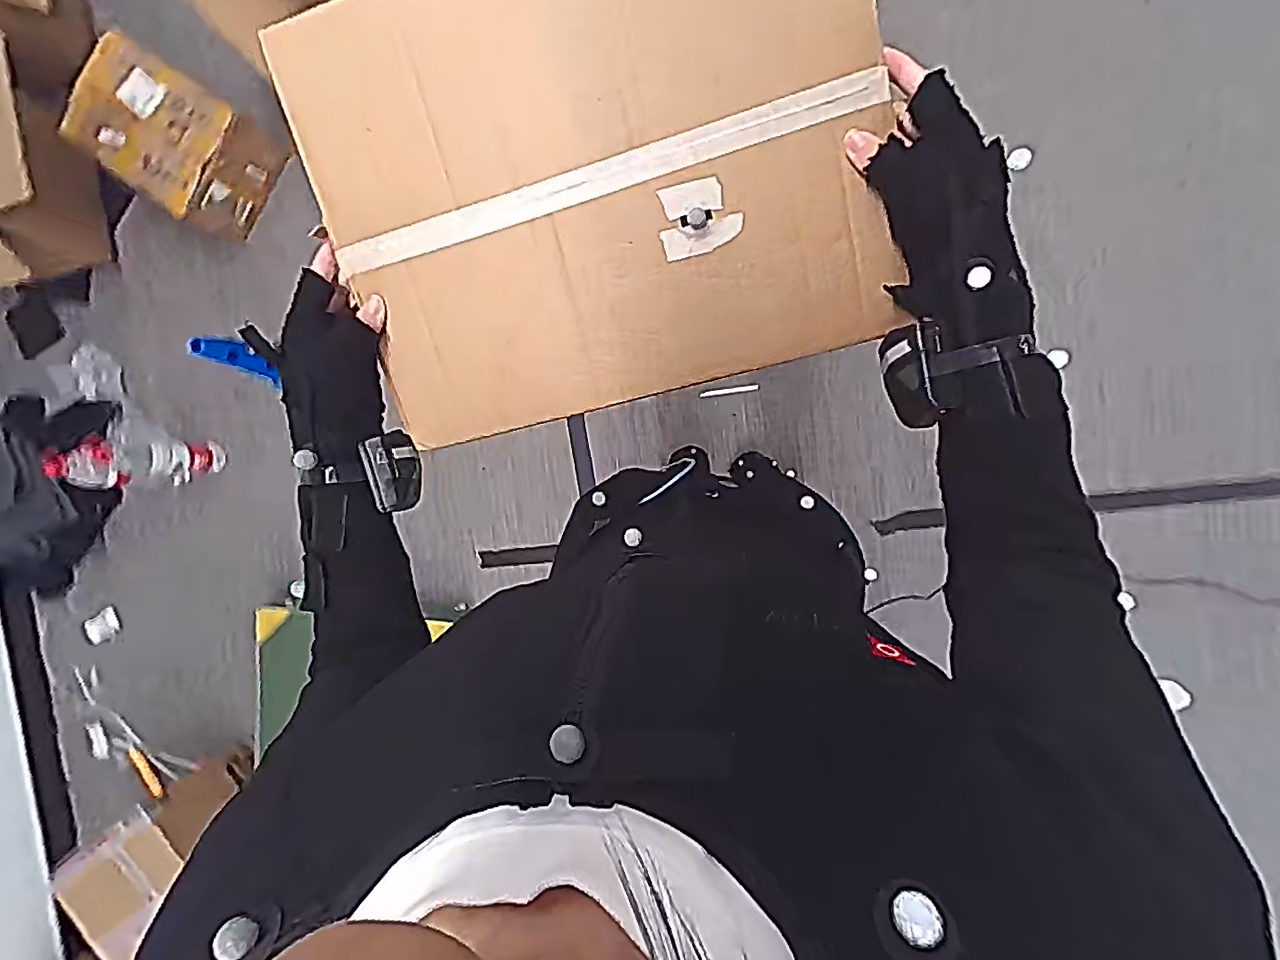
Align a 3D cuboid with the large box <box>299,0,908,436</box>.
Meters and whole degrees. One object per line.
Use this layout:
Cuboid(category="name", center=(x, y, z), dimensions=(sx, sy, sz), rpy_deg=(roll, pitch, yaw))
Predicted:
Cuboid(category="large box", center=(-0.012, -0.261, 0.541), dimensions=(0.408, 0.320, 0.320), rpy_deg=(-12, 105, 10))
